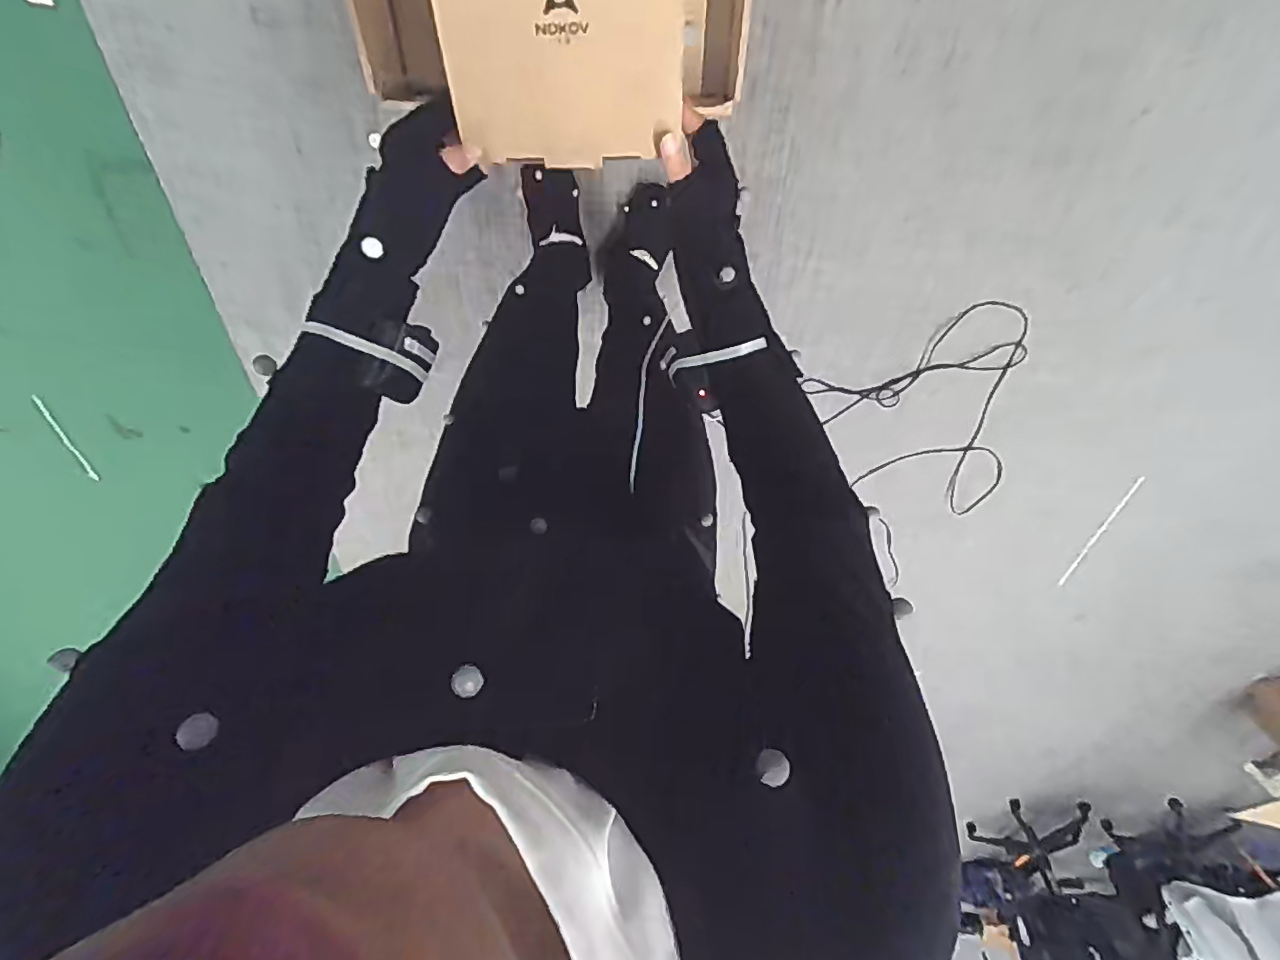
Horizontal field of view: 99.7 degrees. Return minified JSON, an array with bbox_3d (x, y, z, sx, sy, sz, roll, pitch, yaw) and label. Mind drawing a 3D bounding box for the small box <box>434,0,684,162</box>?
[{"bbox_3d":[-0.050,-0.364,0.414,0.168,0.176,0.179,-2,130,4],"label":"small box"}]
